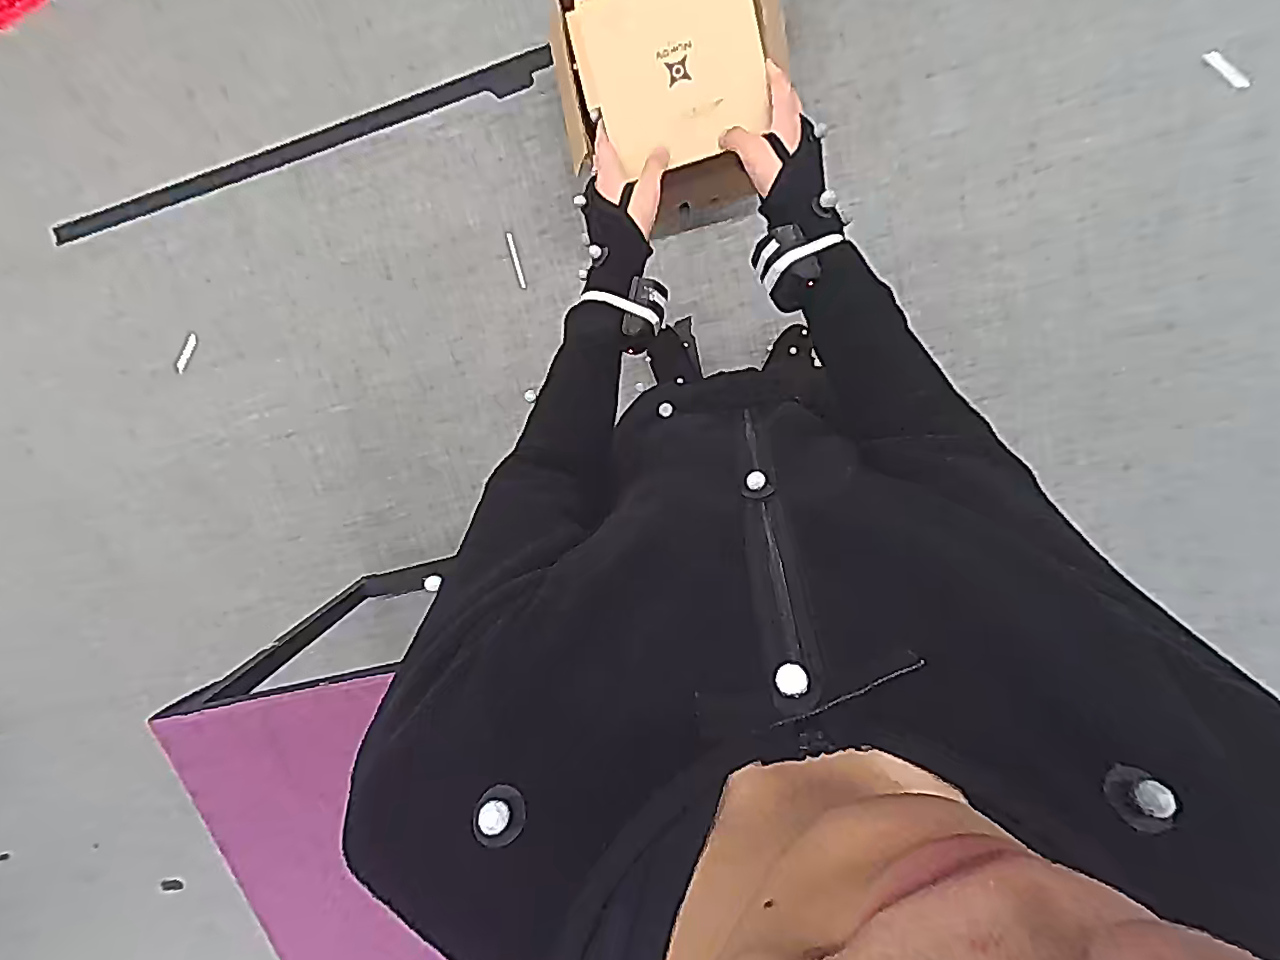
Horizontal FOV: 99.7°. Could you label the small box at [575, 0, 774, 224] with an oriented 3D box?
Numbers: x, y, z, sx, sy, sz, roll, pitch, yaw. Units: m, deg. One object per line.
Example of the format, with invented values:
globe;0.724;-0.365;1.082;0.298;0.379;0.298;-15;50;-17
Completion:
small box;0.041;-0.420;0.606;0.168;0.176;0.179;-14;98;8
